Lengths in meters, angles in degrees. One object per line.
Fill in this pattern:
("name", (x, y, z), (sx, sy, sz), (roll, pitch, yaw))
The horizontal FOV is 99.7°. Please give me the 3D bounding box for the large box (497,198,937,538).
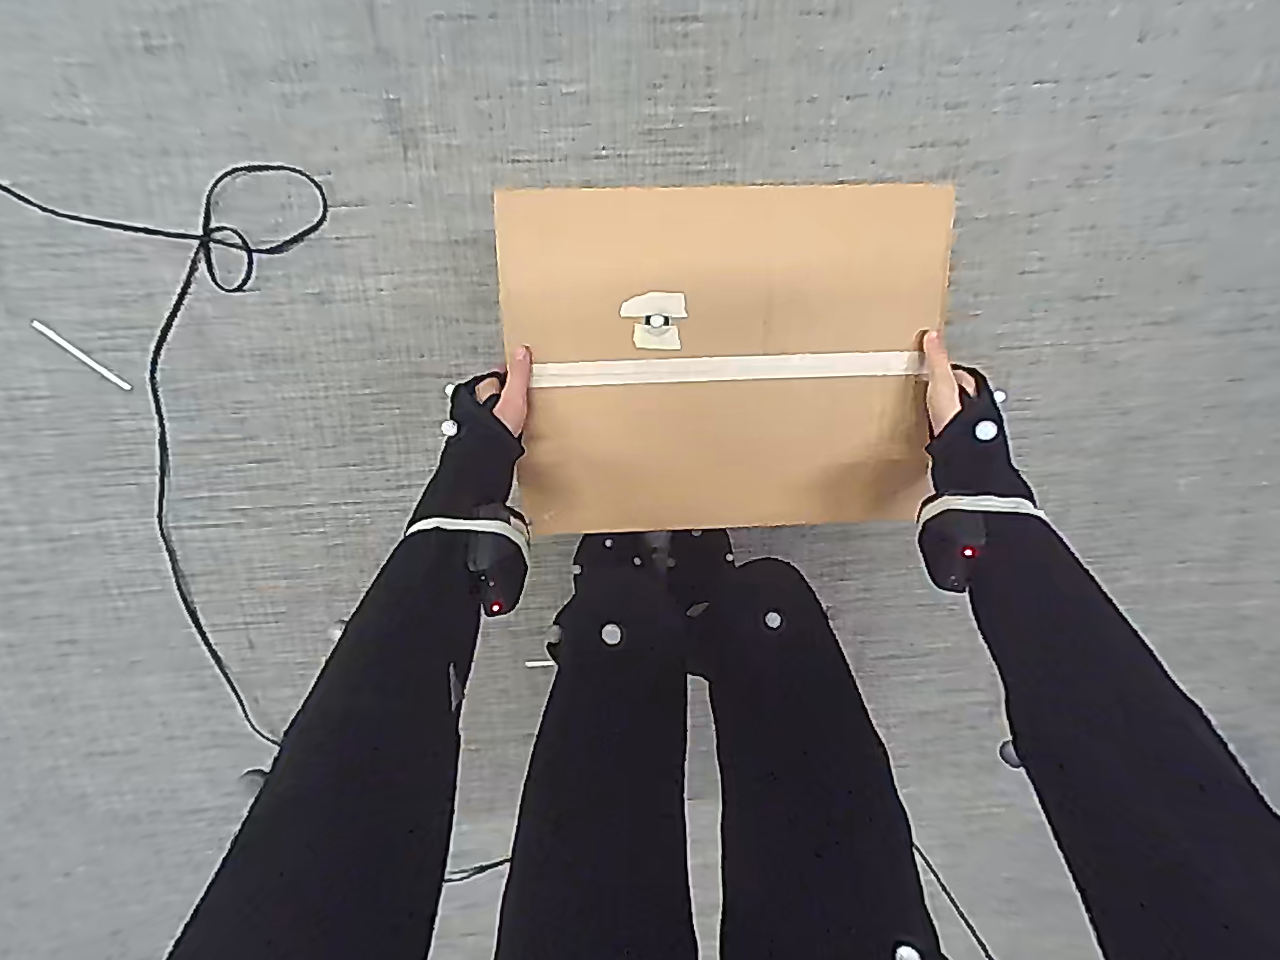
("large box", (0.073, -0.134, 0.663), (0.408, 0.320, 0.320), (-2, 104, -1))
